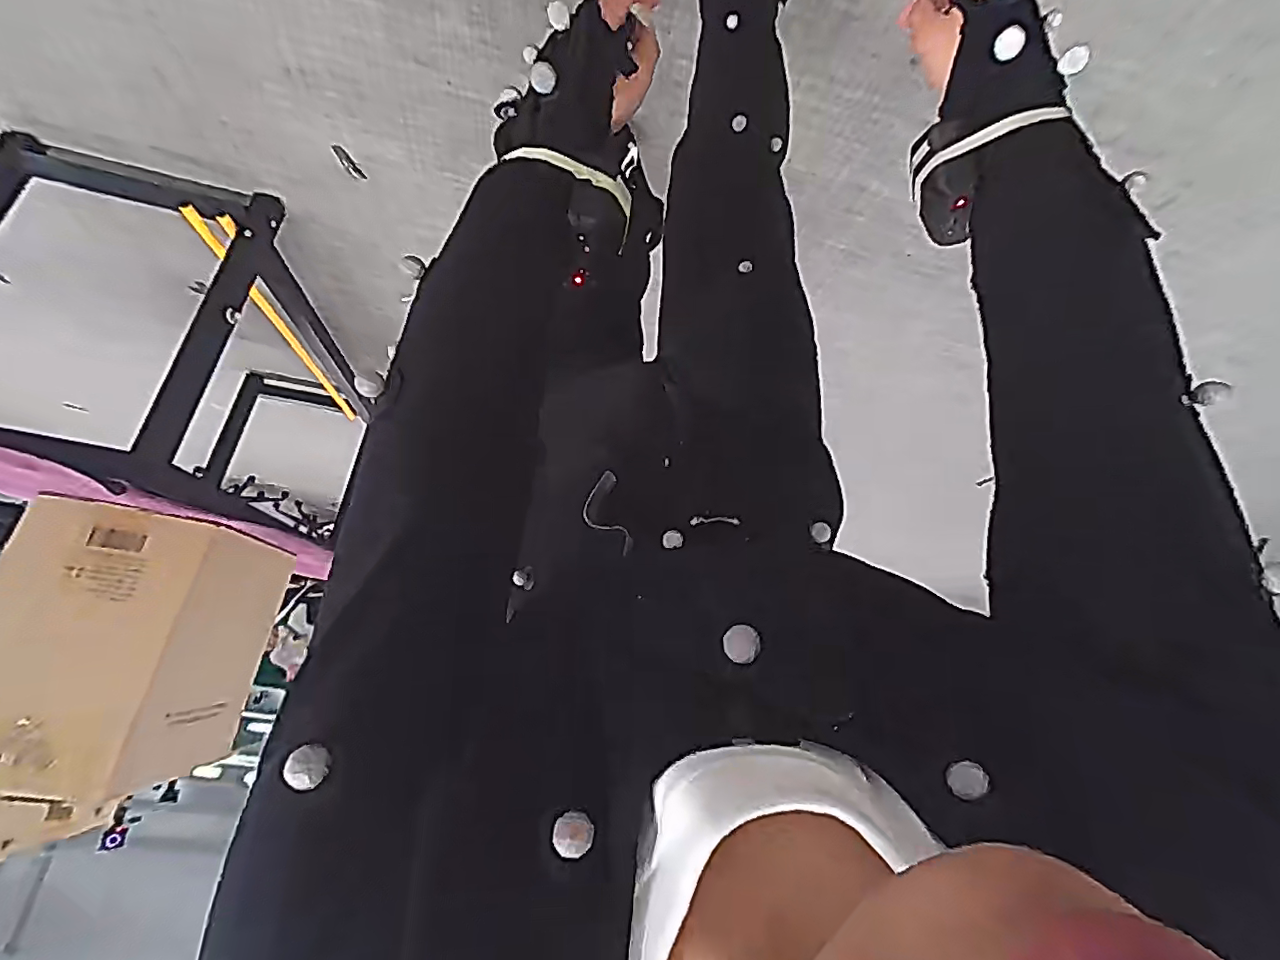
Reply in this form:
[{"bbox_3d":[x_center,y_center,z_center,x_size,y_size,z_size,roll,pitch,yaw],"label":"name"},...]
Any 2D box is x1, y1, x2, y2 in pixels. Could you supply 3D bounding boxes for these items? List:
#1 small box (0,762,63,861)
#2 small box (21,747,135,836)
[{"bbox_3d":[-1.451,0.730,1.181,0.168,0.176,0.179,10,164,-4],"label":"small box"},{"bbox_3d":[-1.488,0.803,1.411,0.168,0.176,0.179,10,160,-9],"label":"small box"}]
